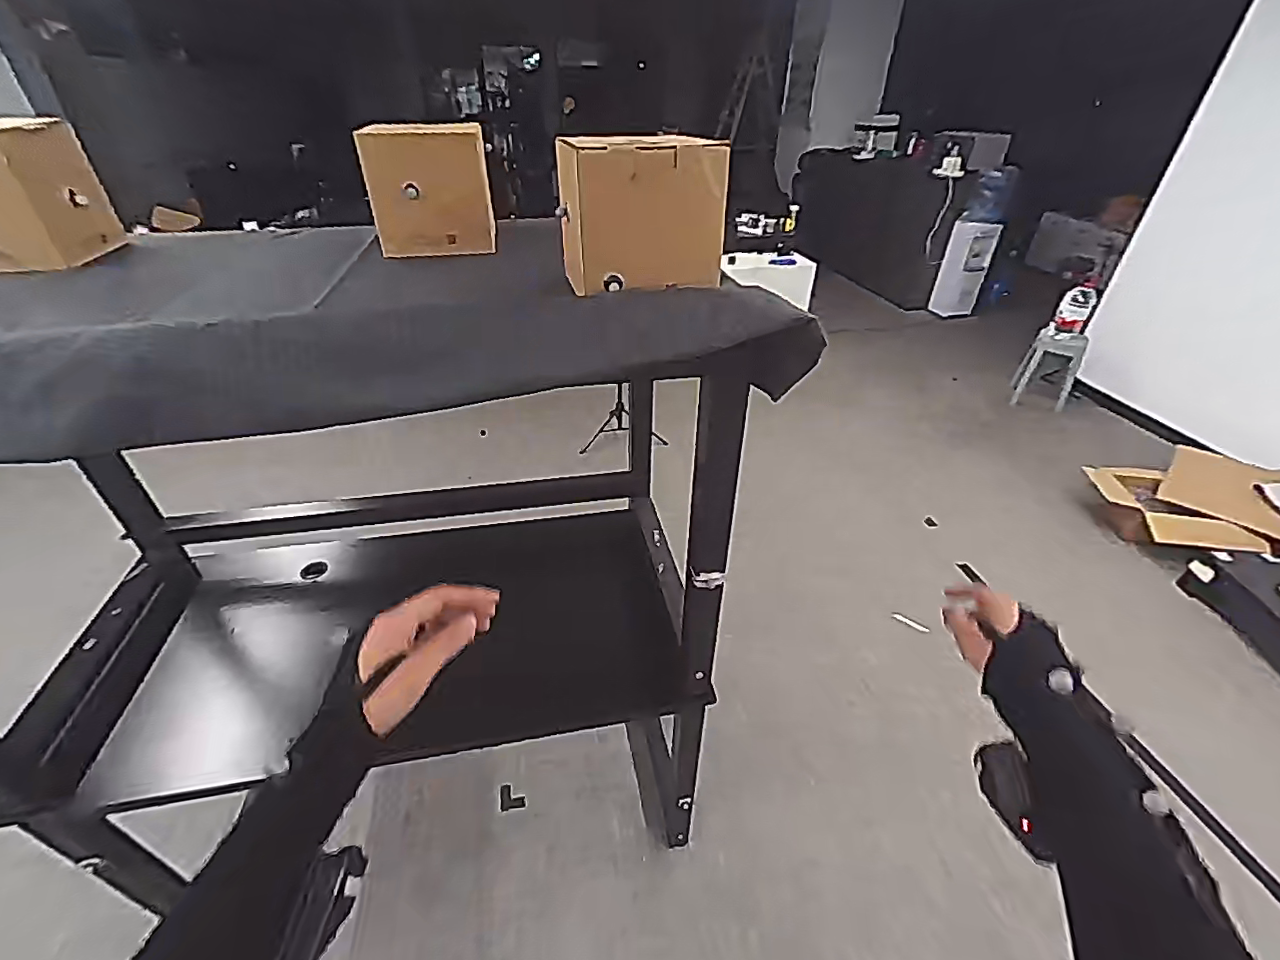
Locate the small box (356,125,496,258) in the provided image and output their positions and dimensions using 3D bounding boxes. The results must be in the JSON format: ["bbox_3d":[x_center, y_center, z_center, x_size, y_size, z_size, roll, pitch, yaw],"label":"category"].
[{"bbox_3d":[-0.324,-0.457,0.860,0.168,0.176,0.179,-7,37,-10],"label":"small box"}]

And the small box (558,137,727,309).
[{"bbox_3d":[-0.003,-0.315,0.665,0.168,0.176,0.179,-8,36,-12],"label":"small box"}]

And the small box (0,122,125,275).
[{"bbox_3d":[-0.887,-0.390,0.752,0.179,0.176,0.168,-7,37,-12],"label":"small box"}]
